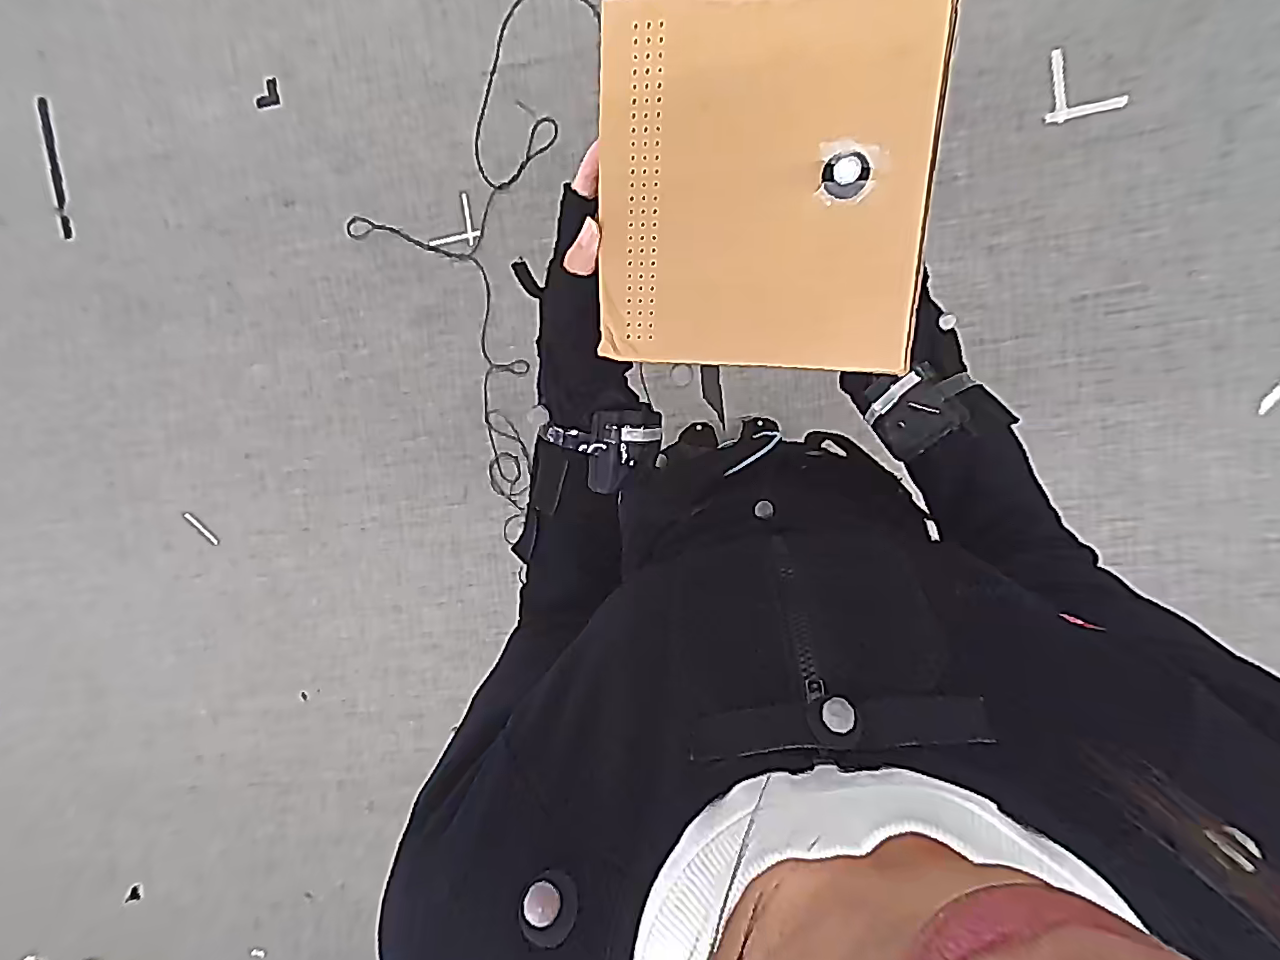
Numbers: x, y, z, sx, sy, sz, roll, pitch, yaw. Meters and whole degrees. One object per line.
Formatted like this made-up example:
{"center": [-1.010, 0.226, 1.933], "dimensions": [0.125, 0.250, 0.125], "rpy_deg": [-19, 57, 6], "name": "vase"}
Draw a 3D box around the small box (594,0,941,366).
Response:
{"center": [0.072, -0.167, 0.357], "dimensions": [0.176, 0.168, 0.179], "rpy_deg": [5, 105, 14], "name": "small box"}
